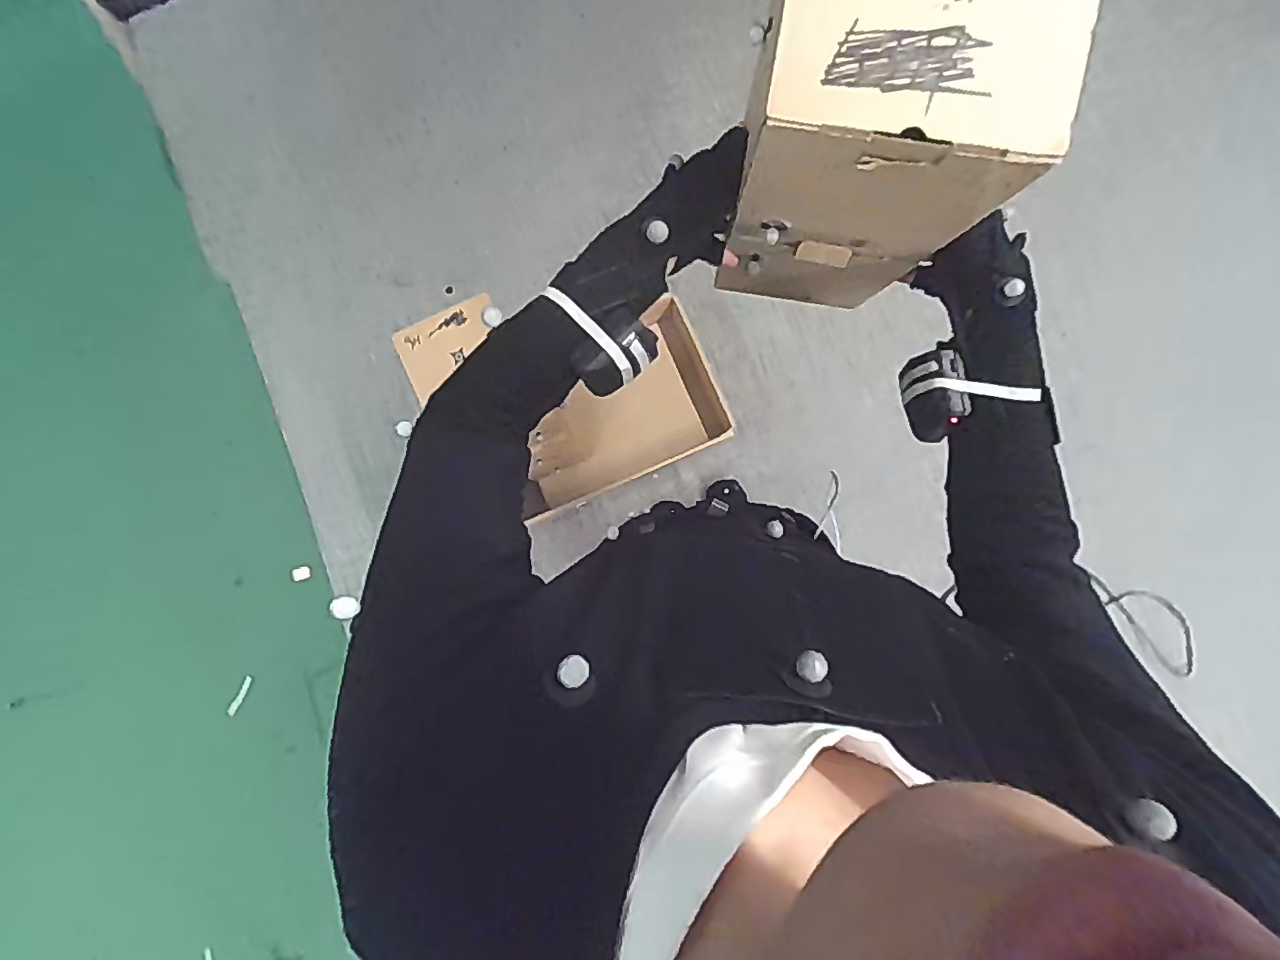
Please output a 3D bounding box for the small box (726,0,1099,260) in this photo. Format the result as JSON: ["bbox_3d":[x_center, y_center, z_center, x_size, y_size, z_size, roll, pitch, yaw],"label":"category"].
[{"bbox_3d":[0.161,-0.271,0.364,0.168,0.176,0.179,12,95,-1],"label":"small box"}]

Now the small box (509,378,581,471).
[{"bbox_3d":[-0.260,-0.136,1.385,0.168,0.176,0.179,-19,85,0],"label":"small box"}]
